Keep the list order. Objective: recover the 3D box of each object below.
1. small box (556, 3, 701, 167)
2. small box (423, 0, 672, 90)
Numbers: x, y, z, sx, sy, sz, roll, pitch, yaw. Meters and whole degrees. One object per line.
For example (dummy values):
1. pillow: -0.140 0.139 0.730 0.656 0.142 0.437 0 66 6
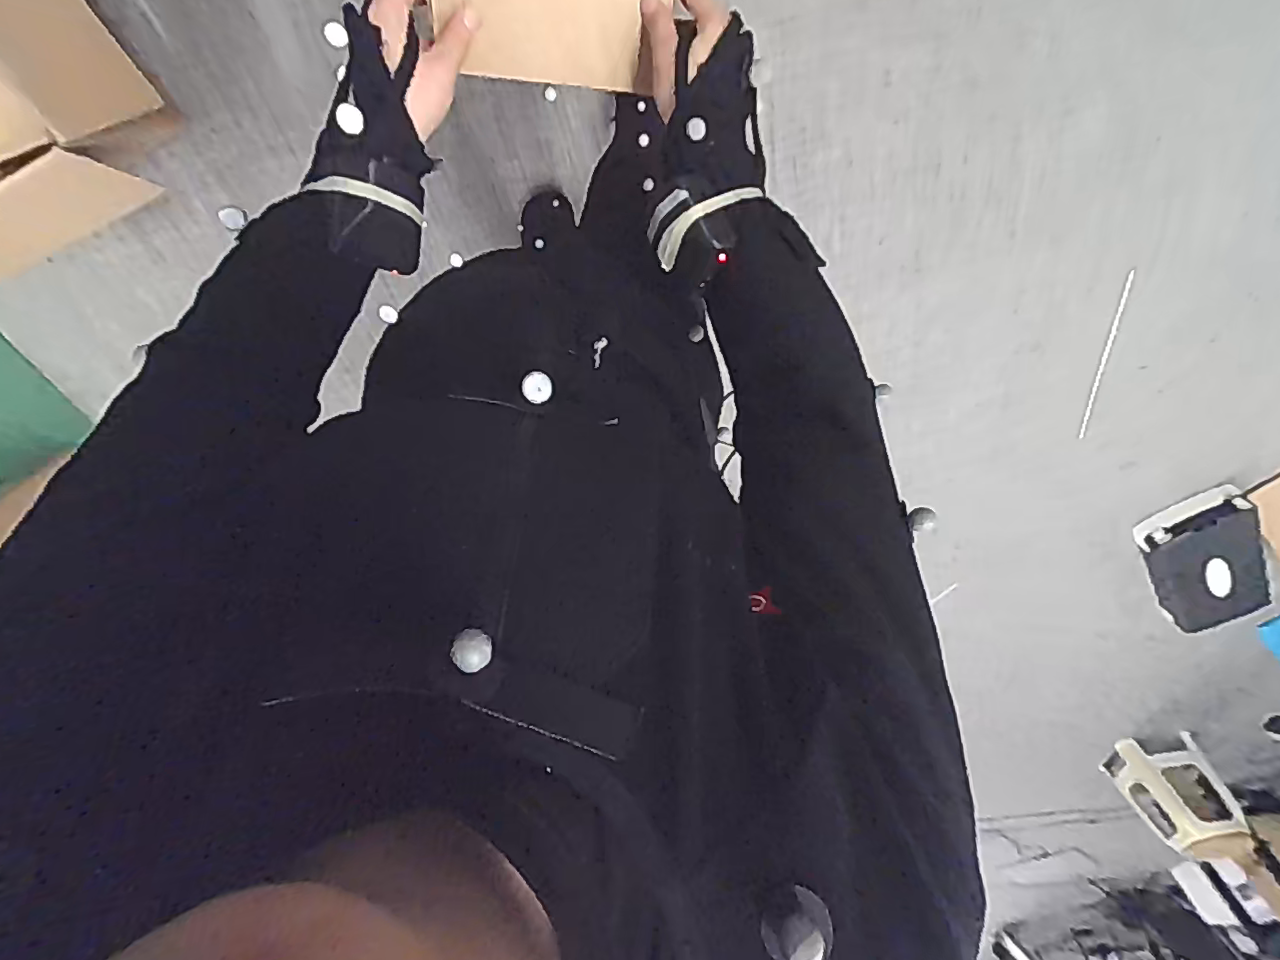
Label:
1. small box: -0.020 -0.652 0.880 0.179 0.168 0.176 8 167 -32
2. small box: -0.066 -0.416 0.416 0.179 0.176 0.168 1 130 -7
